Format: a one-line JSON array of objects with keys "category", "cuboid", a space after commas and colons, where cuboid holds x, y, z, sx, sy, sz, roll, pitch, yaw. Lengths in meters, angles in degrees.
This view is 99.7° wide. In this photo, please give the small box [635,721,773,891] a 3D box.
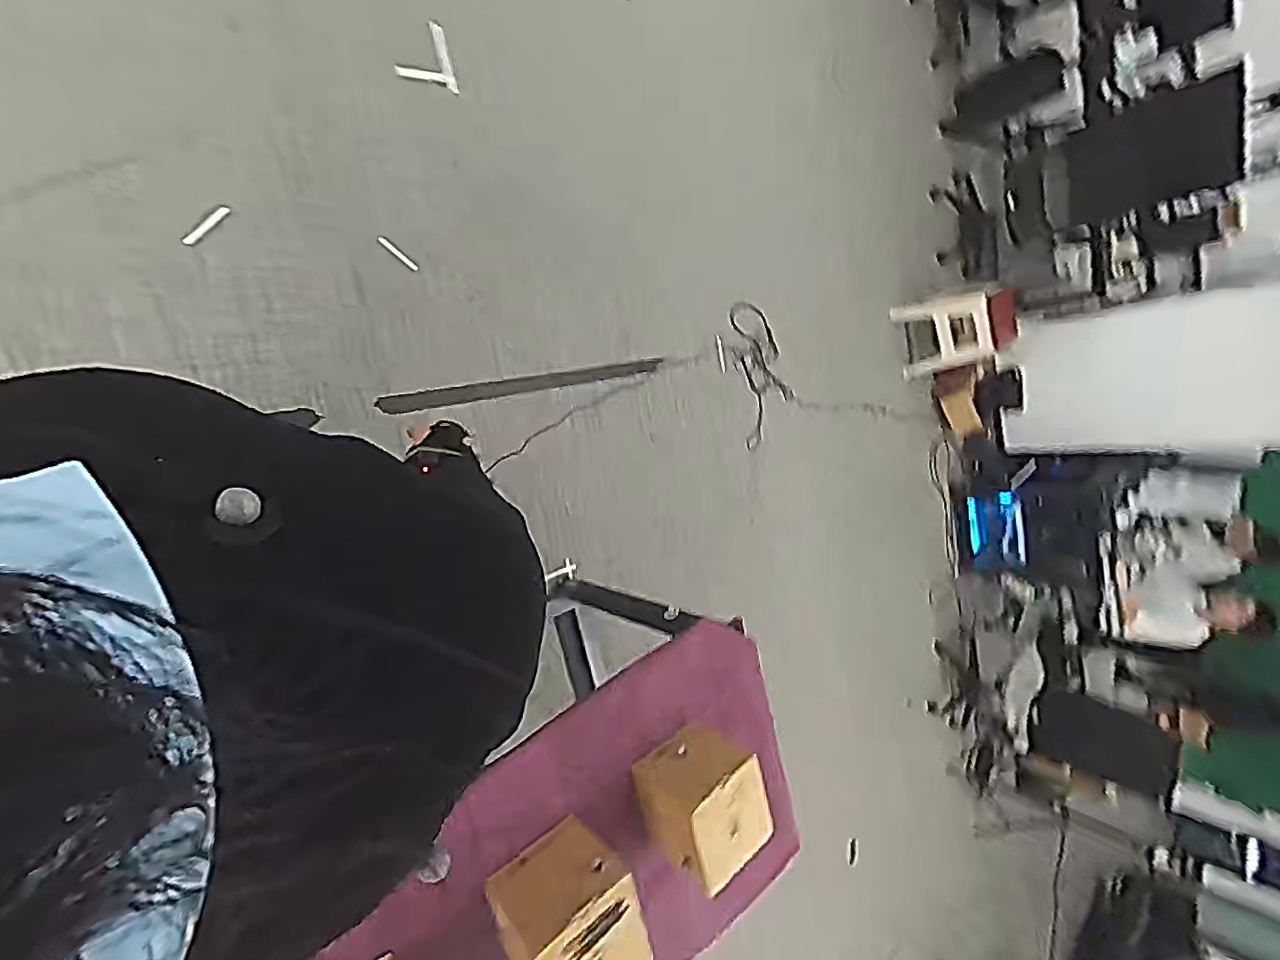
[{"category": "small box", "cuboid": [0.116, 0.588, 1.004, 0.168, 0.176, 0.179, -22, 104, -35]}]
